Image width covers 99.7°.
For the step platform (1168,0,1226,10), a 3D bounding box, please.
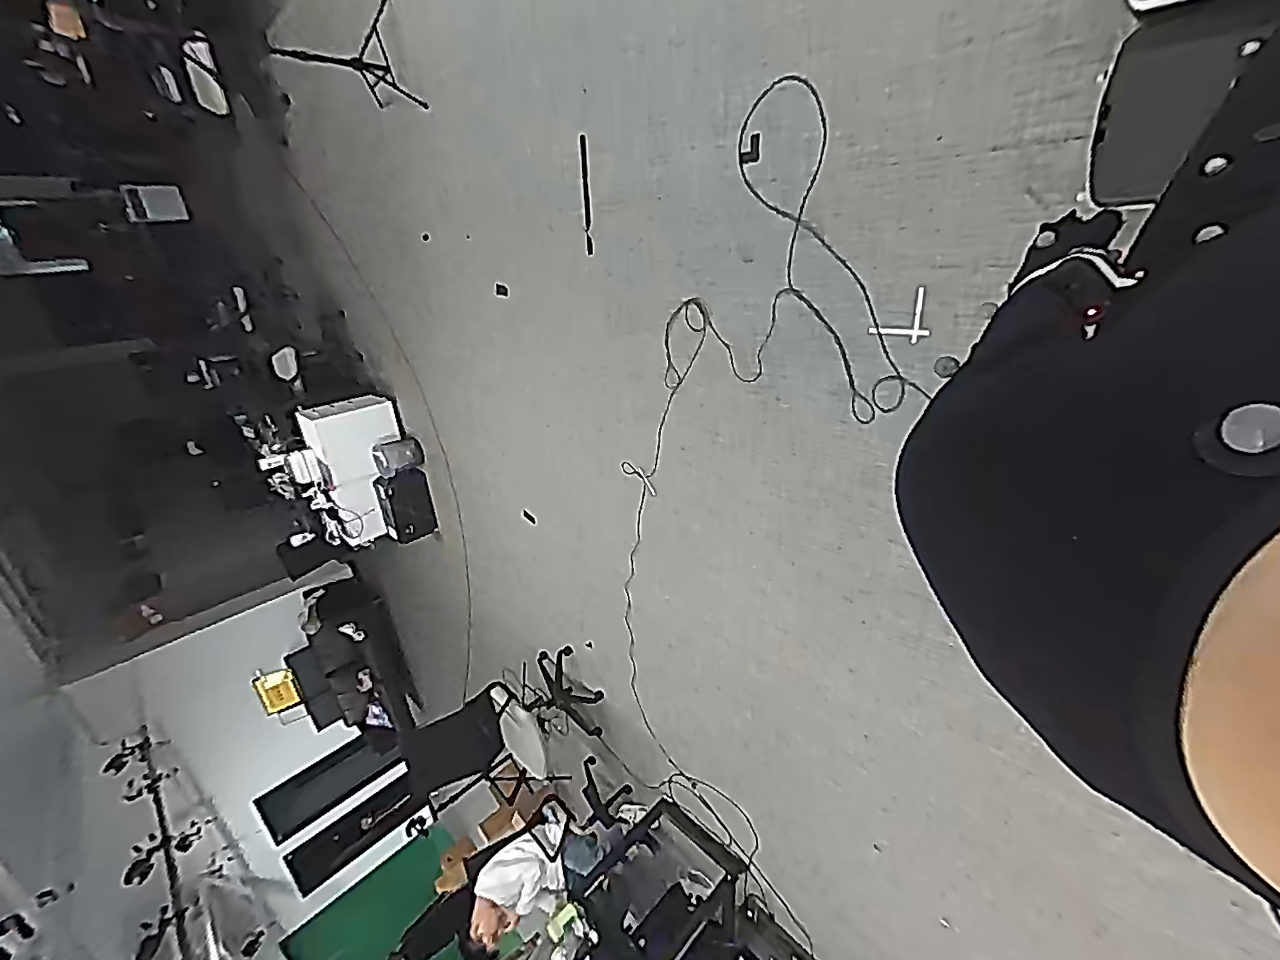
[{"bbox_3d":[1.058,-0.824,0.604,0.684,0.204,0.286,17,122,41],"label":"step platform"}]
